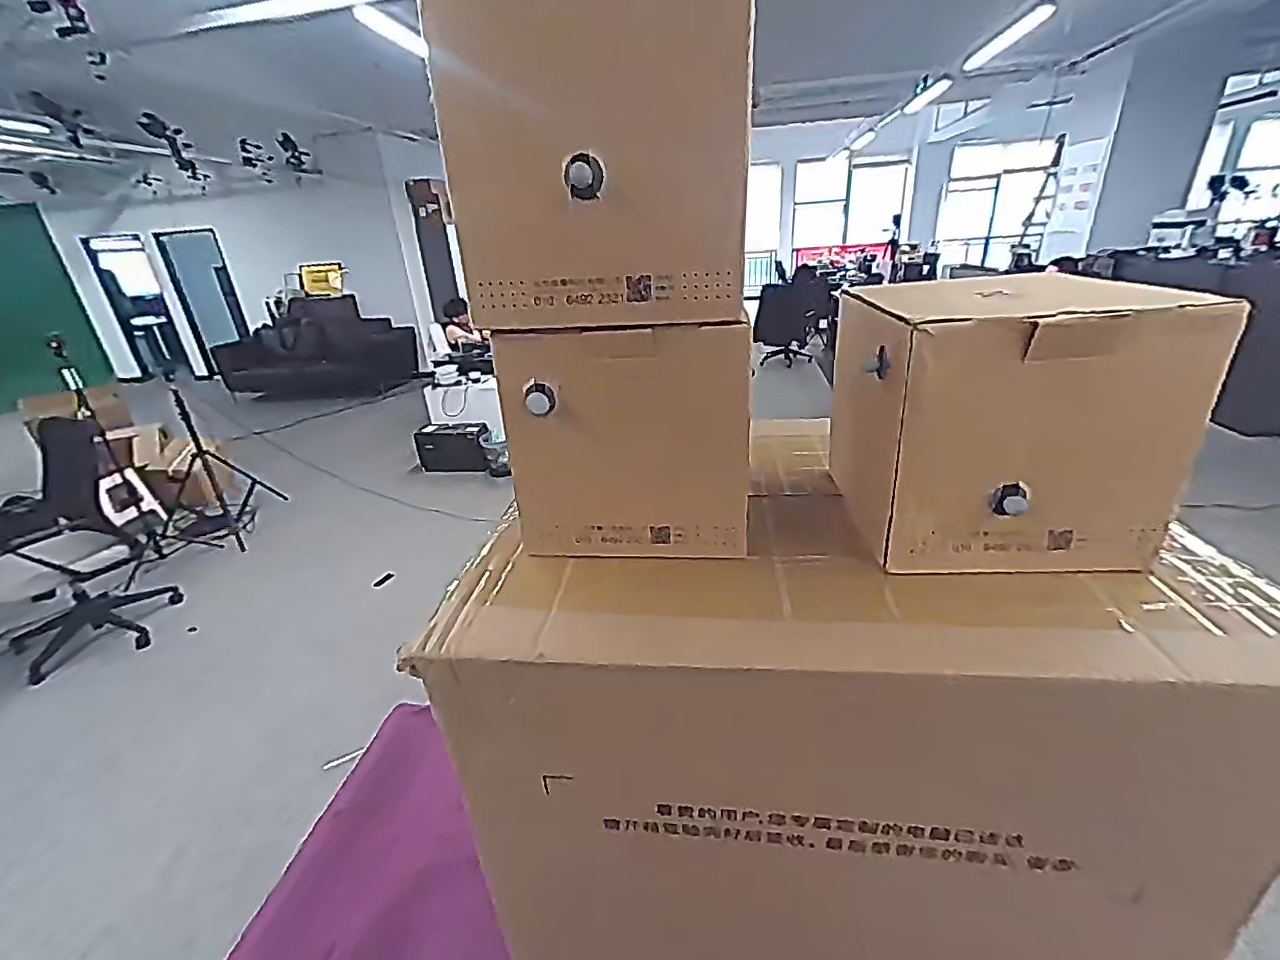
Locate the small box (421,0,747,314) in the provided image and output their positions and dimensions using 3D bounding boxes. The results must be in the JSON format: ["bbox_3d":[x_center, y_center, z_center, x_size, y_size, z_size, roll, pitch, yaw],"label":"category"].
[{"bbox_3d":[-0.018,-0.207,0.366,0.168,0.176,0.179,-1,24,4],"label":"small box"}]

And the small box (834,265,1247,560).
[{"bbox_3d":[0.247,-0.058,0.396,0.168,0.176,0.179,-3,25,7],"label":"small box"}]
